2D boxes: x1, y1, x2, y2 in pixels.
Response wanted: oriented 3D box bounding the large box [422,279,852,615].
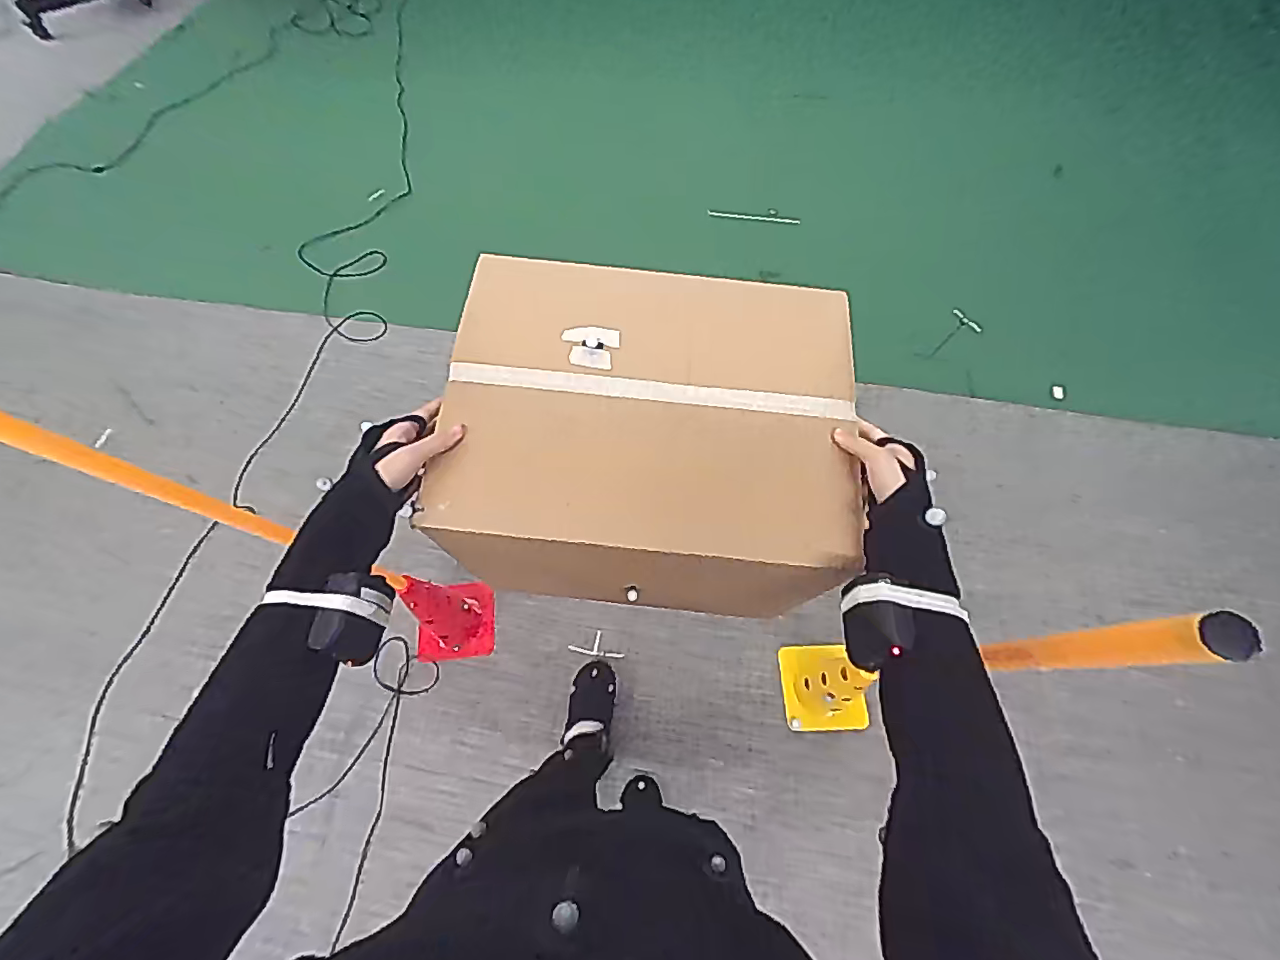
[{"bbox_3d":[0.006,-0.015,0.687,0.408,0.320,0.320,5,67,1],"label":"large box"}]
